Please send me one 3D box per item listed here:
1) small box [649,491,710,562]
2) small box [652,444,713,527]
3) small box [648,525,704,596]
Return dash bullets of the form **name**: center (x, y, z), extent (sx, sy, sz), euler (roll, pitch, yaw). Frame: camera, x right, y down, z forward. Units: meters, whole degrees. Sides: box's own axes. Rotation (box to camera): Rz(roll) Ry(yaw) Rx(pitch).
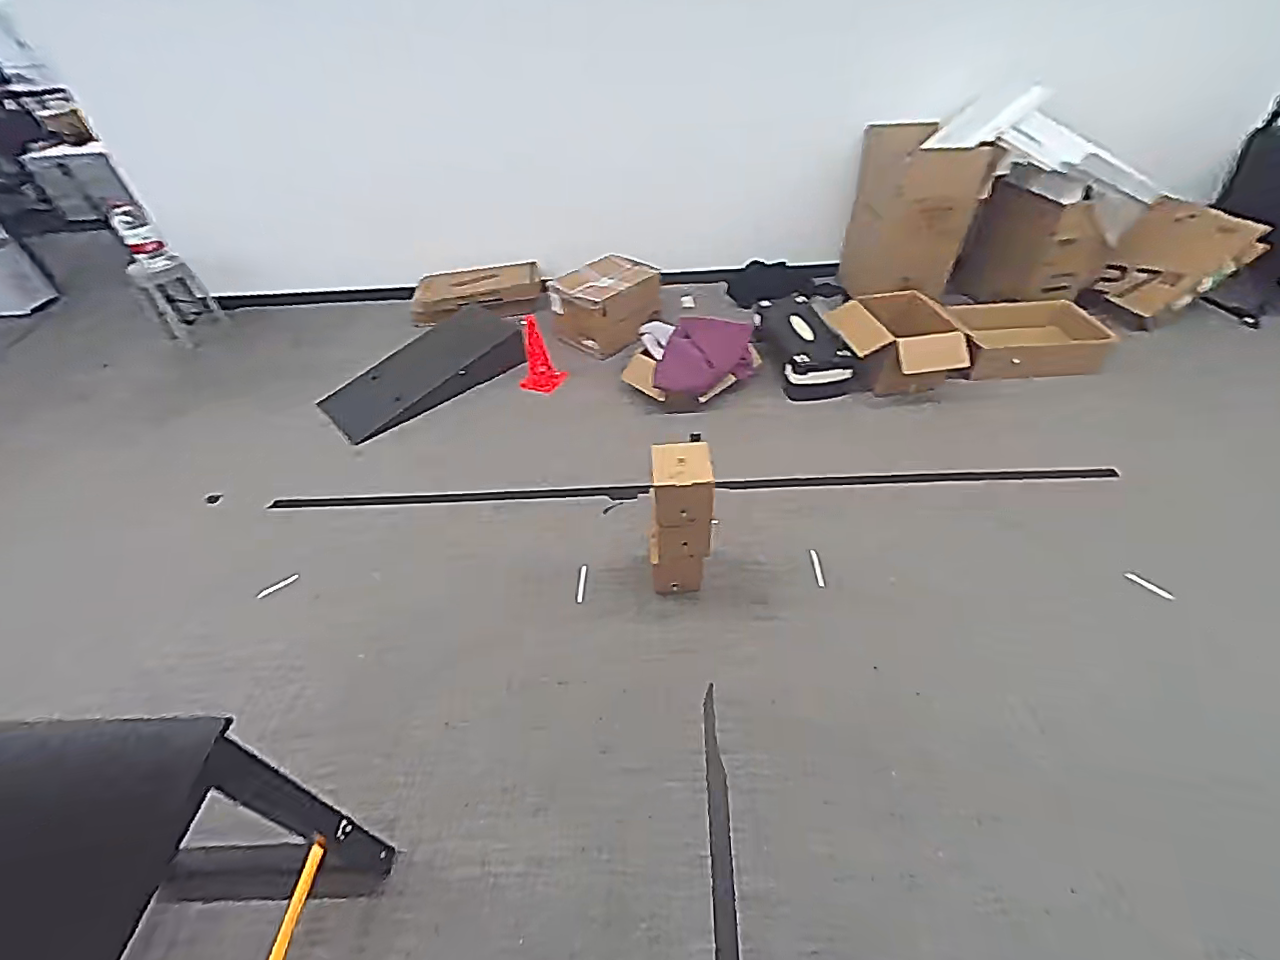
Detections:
- **small box**: center (0.123, 0.141, 1.686), extent (0.168, 0.176, 0.179), euler (-7, 43, -2)
- **small box**: center (0.120, 0.017, 1.575), extent (0.168, 0.176, 0.179), euler (-5, 43, 2)
- **small box**: center (0.116, 0.261, 1.799), extent (0.168, 0.176, 0.179), euler (-7, 44, -1)
